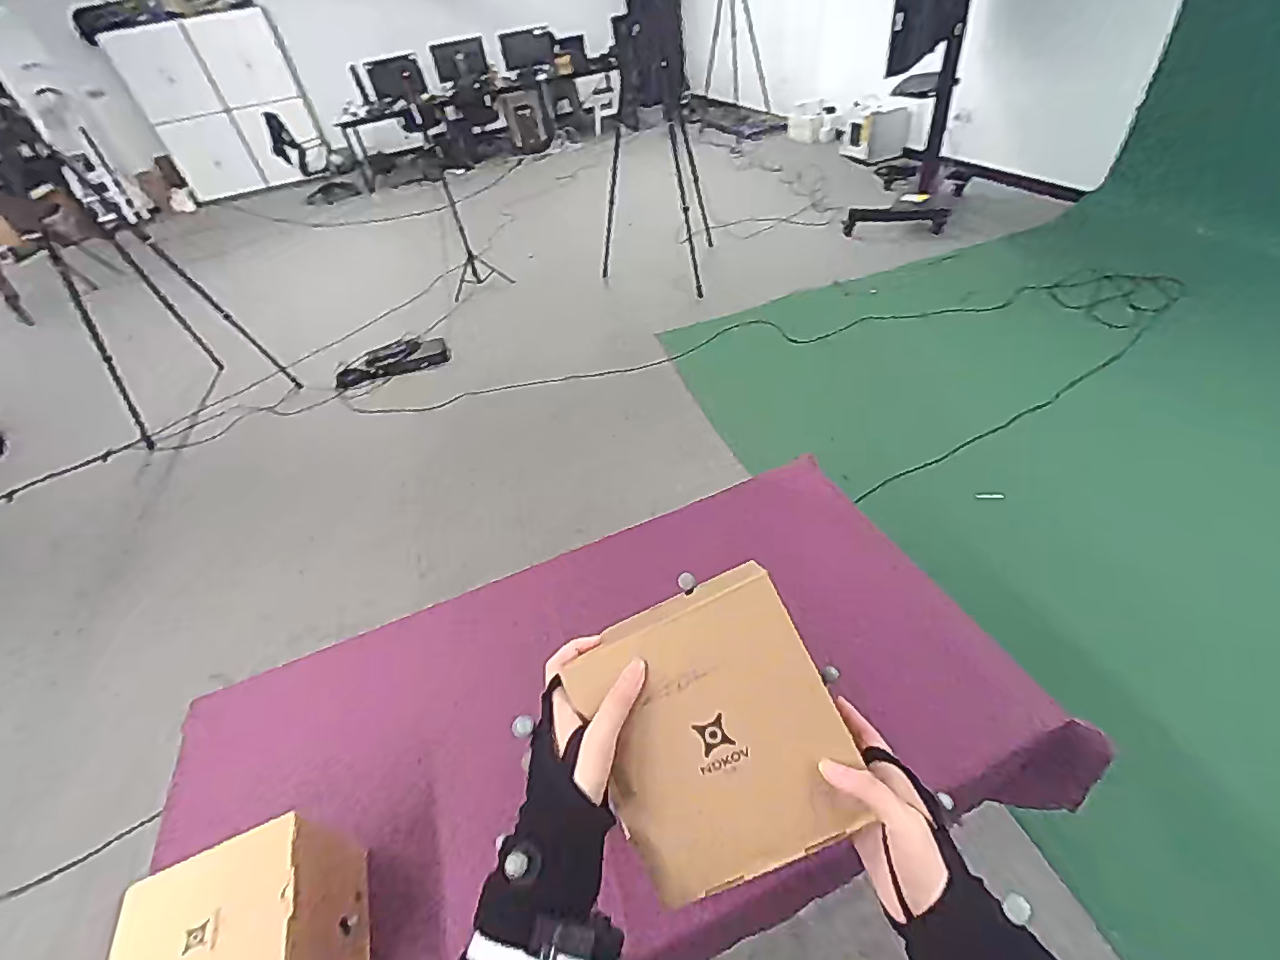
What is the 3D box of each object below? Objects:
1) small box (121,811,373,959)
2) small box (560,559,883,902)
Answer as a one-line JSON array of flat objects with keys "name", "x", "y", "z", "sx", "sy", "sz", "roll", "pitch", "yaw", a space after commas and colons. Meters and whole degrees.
[{"name": "small box", "x": -0.421, "y": 0.513, "z": 0.595, "sx": 0.179, "sy": 0.176, "sz": 0.168, "roll": -22, "pitch": 43, "yaw": -12}, {"name": "small box", "x": 0.063, "y": 0.179, "z": 0.444, "sx": 0.168, "sy": 0.176, "sz": 0.179, "roll": -27, "pitch": 82, "yaw": 6}]
